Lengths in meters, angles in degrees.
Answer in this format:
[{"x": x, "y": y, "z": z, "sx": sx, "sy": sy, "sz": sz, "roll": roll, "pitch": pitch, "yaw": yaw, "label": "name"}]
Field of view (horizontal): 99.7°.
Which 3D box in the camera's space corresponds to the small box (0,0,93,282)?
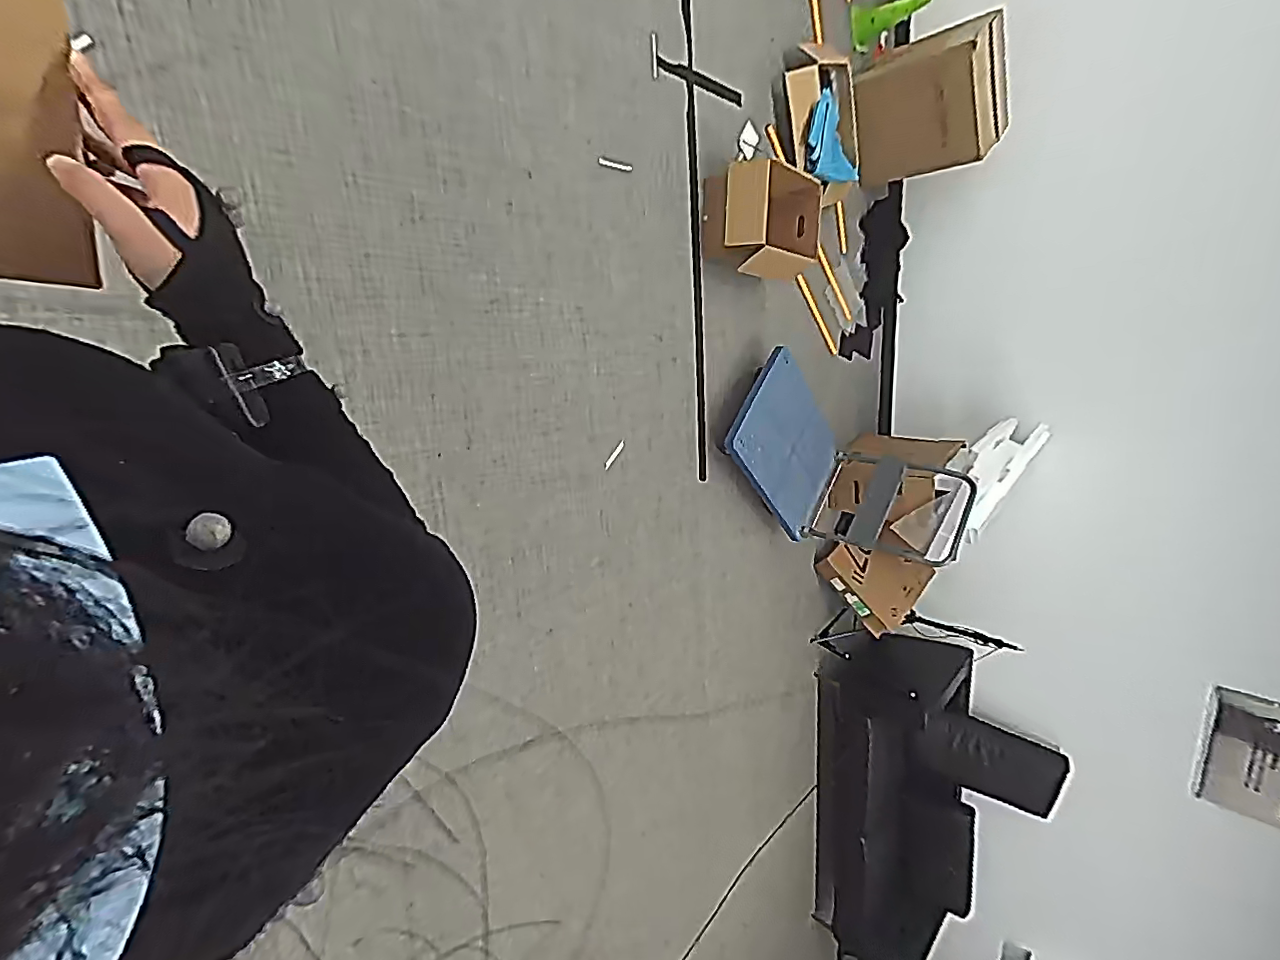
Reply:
[{"x": -0.467, "y": -0.249, "z": 0.338, "sx": 0.168, "sy": 0.176, "sz": 0.179, "roll": -7, "pitch": 126, "yaw": -45, "label": "small box"}]
